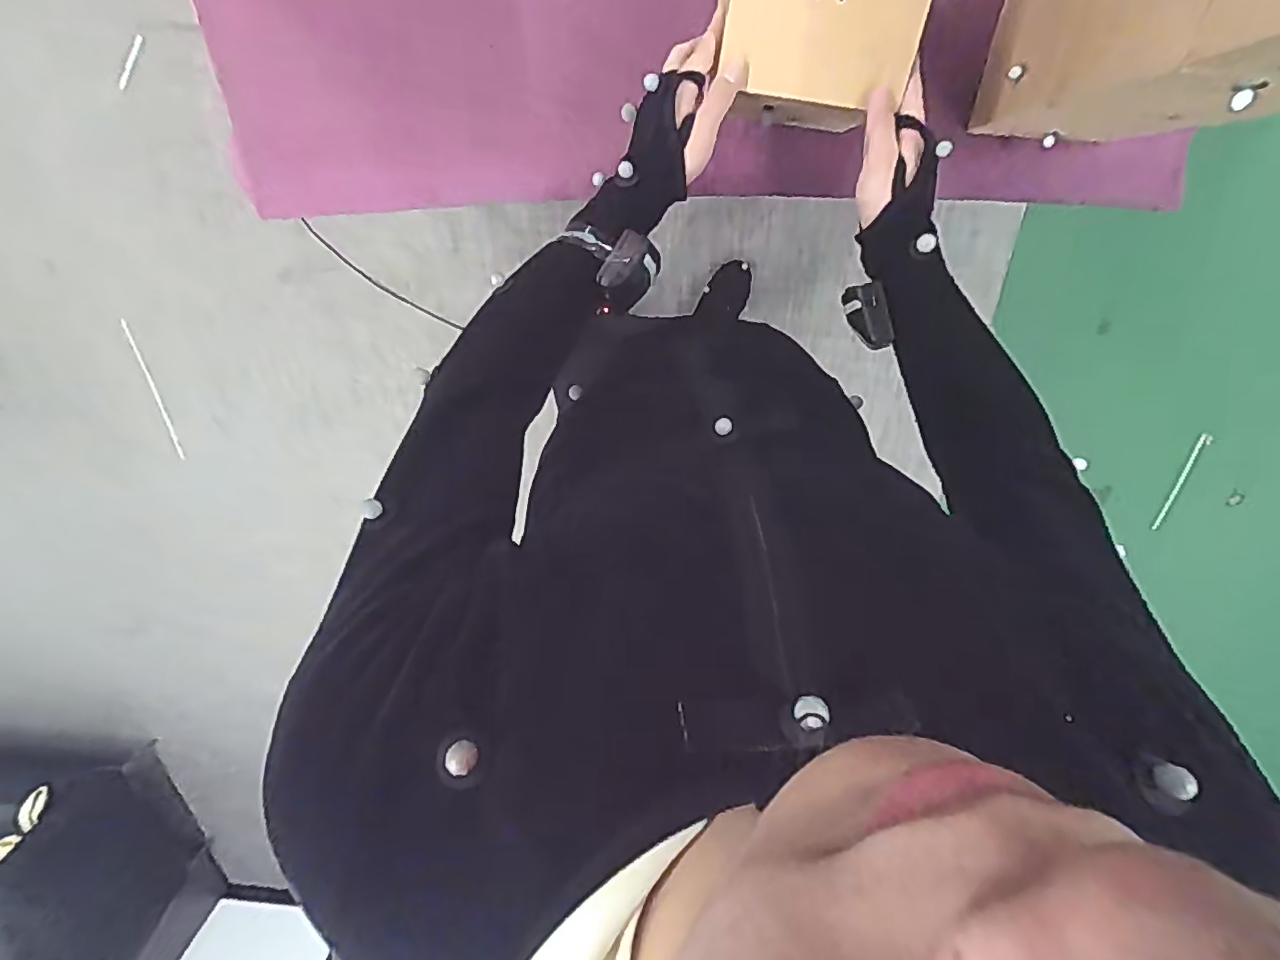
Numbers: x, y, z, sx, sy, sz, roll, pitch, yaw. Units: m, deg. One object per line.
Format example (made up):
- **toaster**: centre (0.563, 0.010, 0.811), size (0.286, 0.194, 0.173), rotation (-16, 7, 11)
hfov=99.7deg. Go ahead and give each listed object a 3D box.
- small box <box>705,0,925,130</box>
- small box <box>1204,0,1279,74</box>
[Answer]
- **small box**: centre (0.157, -0.445, 0.505), size (0.168, 0.176, 0.179), rotation (8, 117, -1)
- **small box**: centre (0.442, -0.310, 0.248), size (0.168, 0.176, 0.179), rotation (7, 117, 4)
